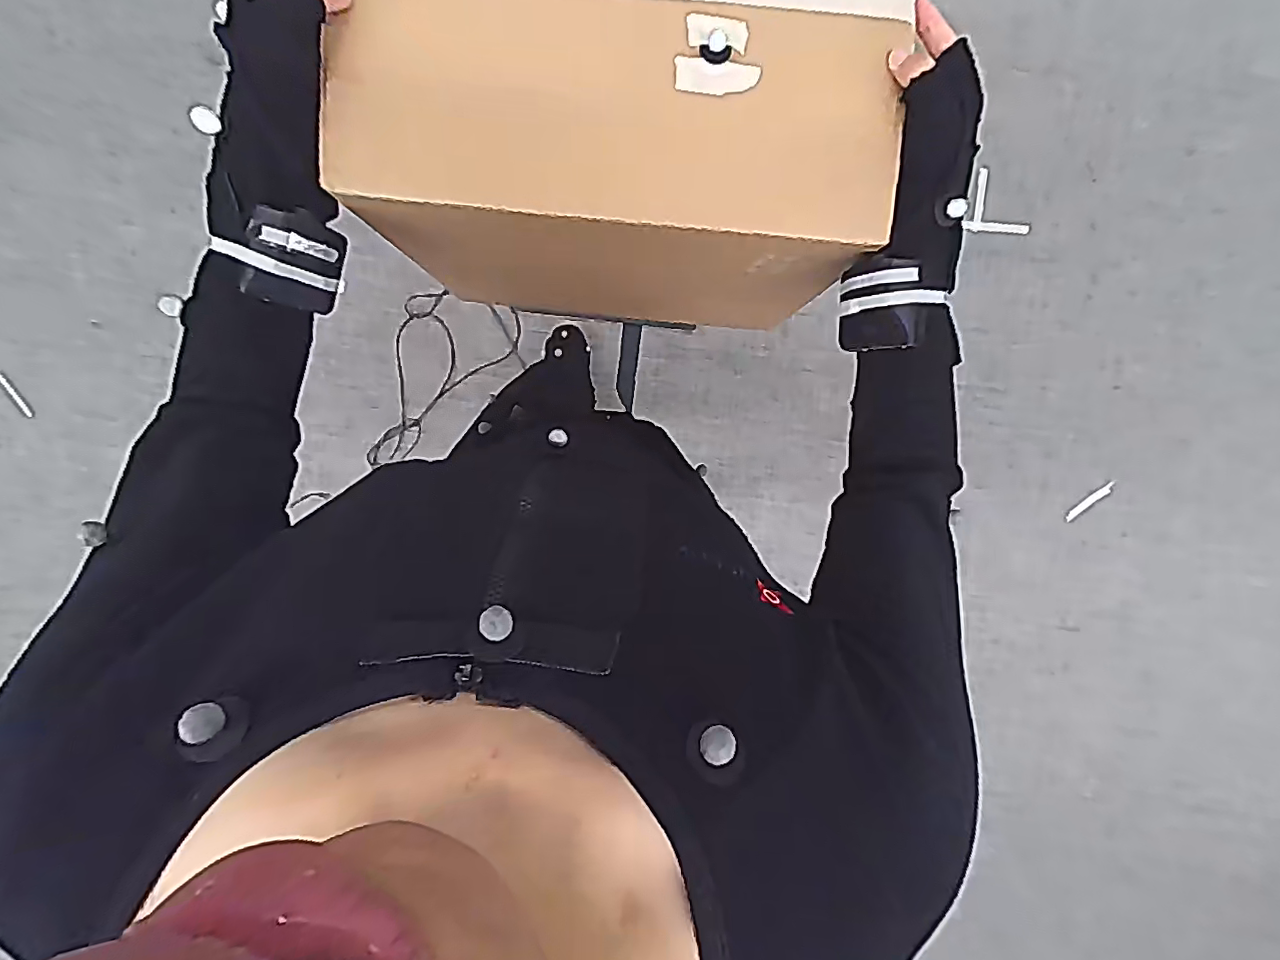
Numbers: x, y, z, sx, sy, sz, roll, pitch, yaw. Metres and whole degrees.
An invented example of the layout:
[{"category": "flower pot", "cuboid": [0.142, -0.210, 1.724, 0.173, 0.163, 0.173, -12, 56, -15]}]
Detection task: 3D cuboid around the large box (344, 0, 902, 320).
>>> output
[{"category": "large box", "cuboid": [-0.013, -0.360, 0.537, 0.408, 0.320, 0.320, 5, 95, -2]}]
